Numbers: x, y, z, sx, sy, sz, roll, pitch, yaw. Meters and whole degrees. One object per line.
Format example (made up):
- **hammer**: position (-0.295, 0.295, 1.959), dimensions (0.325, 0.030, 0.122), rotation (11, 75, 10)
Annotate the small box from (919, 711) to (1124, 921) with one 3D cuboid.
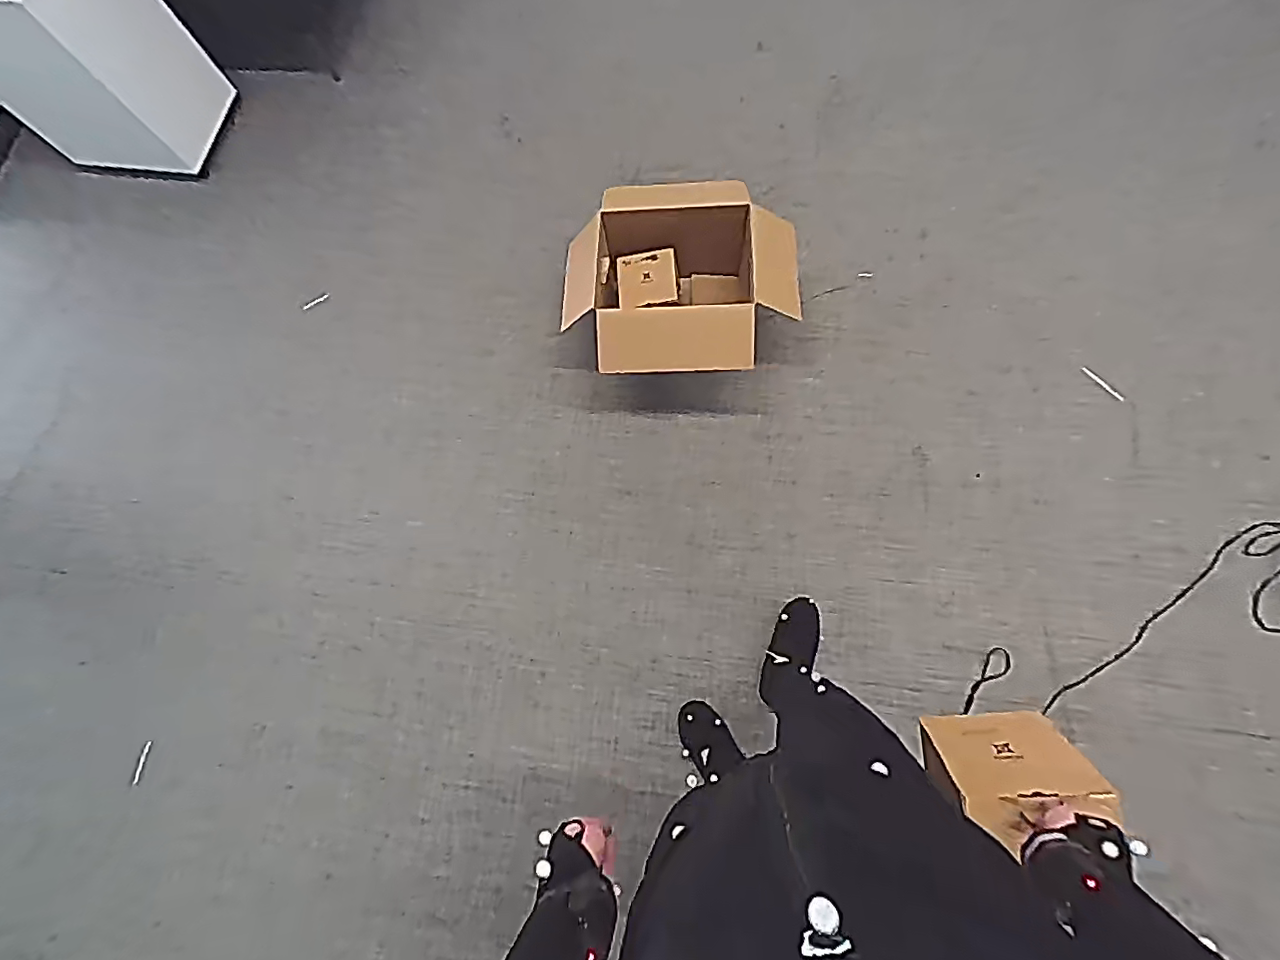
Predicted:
- **small box**: position (0.487, 0.431, 0.710), dimensions (0.168, 0.179, 0.176), rotation (-8, 94, 13)
